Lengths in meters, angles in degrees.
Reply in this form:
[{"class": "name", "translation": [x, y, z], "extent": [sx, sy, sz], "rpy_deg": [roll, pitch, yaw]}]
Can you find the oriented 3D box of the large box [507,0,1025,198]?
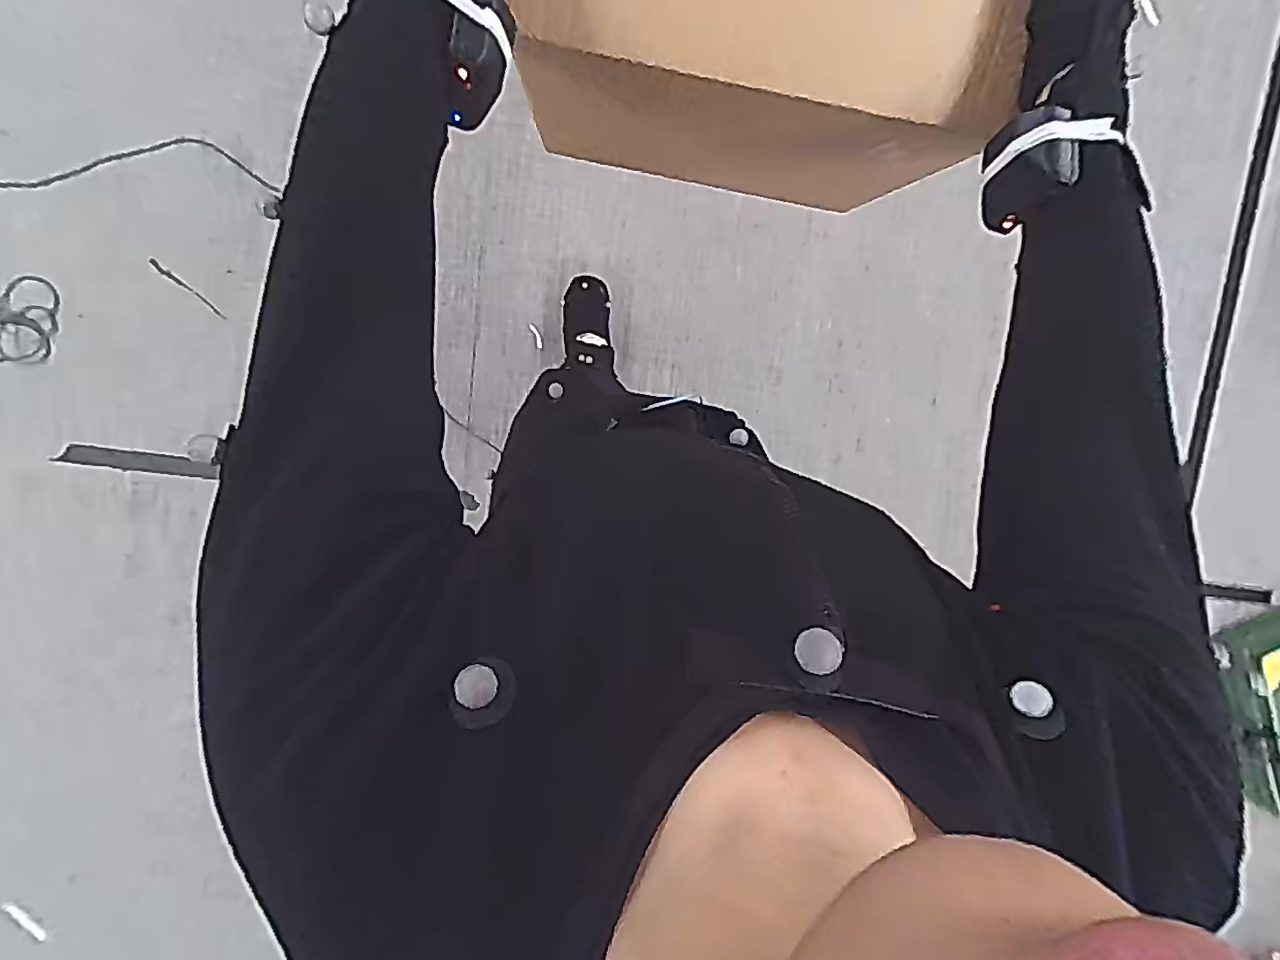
[{"class": "large box", "translation": [0.102, -0.501, 0.525], "extent": [0.408, 0.320, 0.320], "rpy_deg": [7, 107, -7]}]
